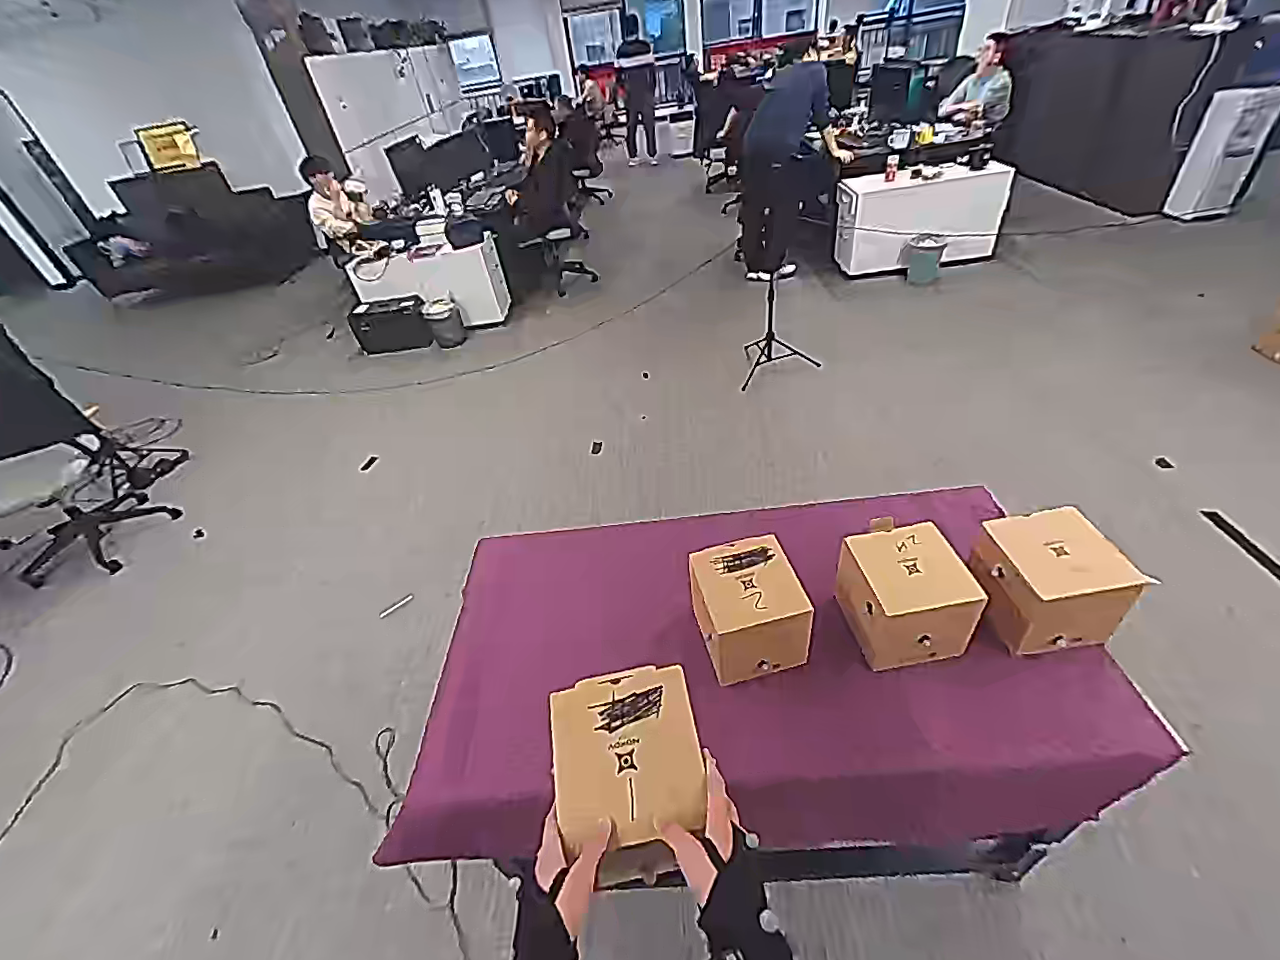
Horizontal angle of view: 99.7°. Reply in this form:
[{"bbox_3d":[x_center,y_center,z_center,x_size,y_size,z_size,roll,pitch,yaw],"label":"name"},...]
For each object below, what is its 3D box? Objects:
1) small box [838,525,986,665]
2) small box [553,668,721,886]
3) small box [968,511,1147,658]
[{"bbox_3d":[0.469,0.210,0.964,0.168,0.176,0.179,-10,39,0],"label":"small box"},{"bbox_3d":[-0.003,0.359,0.654,0.168,0.176,0.179,-12,46,0],"label":"small box"},{"bbox_3d":[0.706,0.182,0.948,0.168,0.176,0.179,-10,39,3],"label":"small box"}]
